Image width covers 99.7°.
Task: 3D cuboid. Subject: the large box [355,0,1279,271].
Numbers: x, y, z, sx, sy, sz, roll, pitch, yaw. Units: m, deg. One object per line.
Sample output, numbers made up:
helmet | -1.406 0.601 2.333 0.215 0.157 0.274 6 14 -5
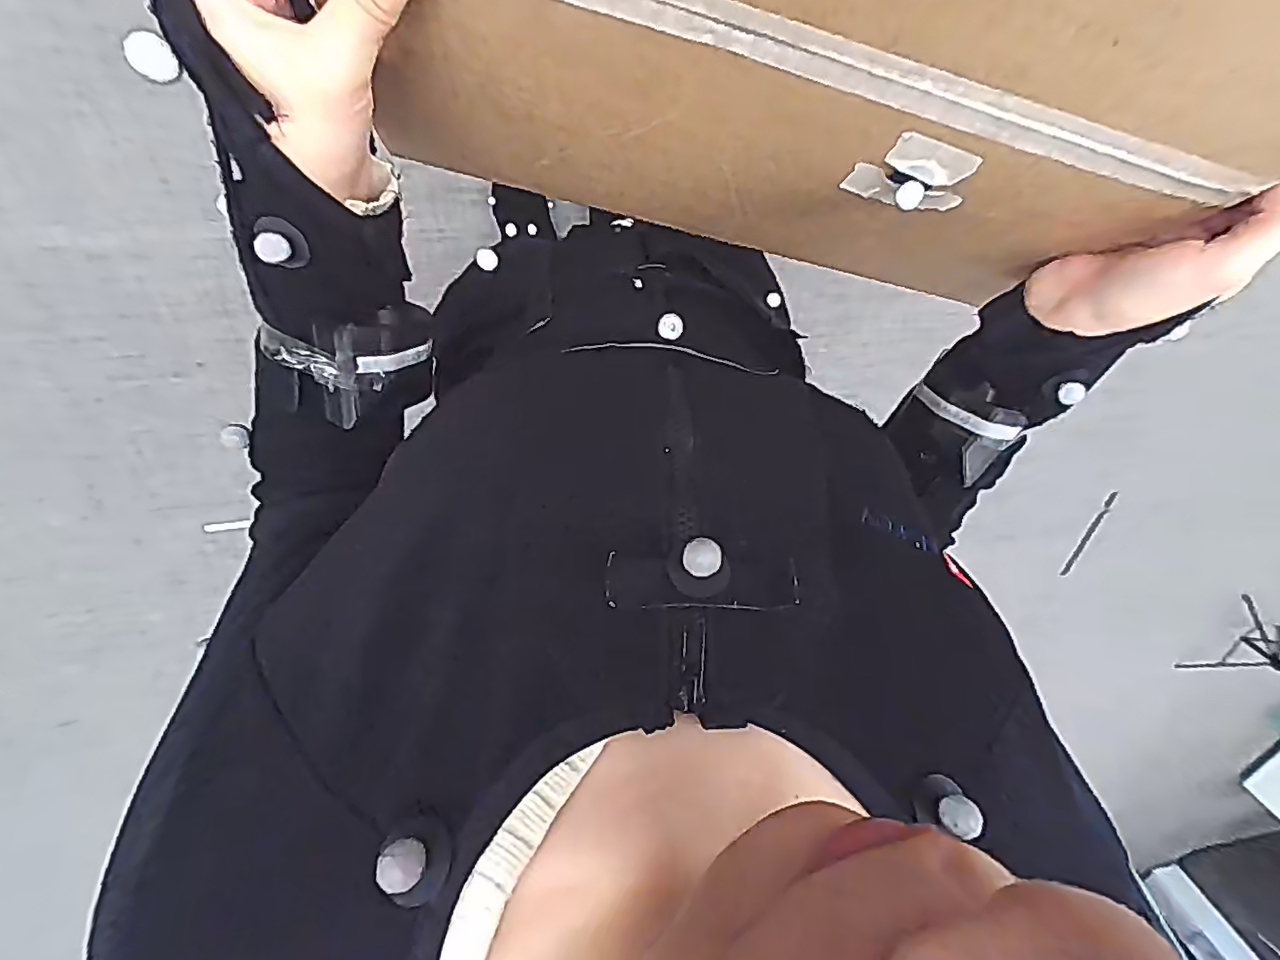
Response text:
large box | 0.109 -0.318 0.184 0.408 0.320 0.320 9 88 -10
